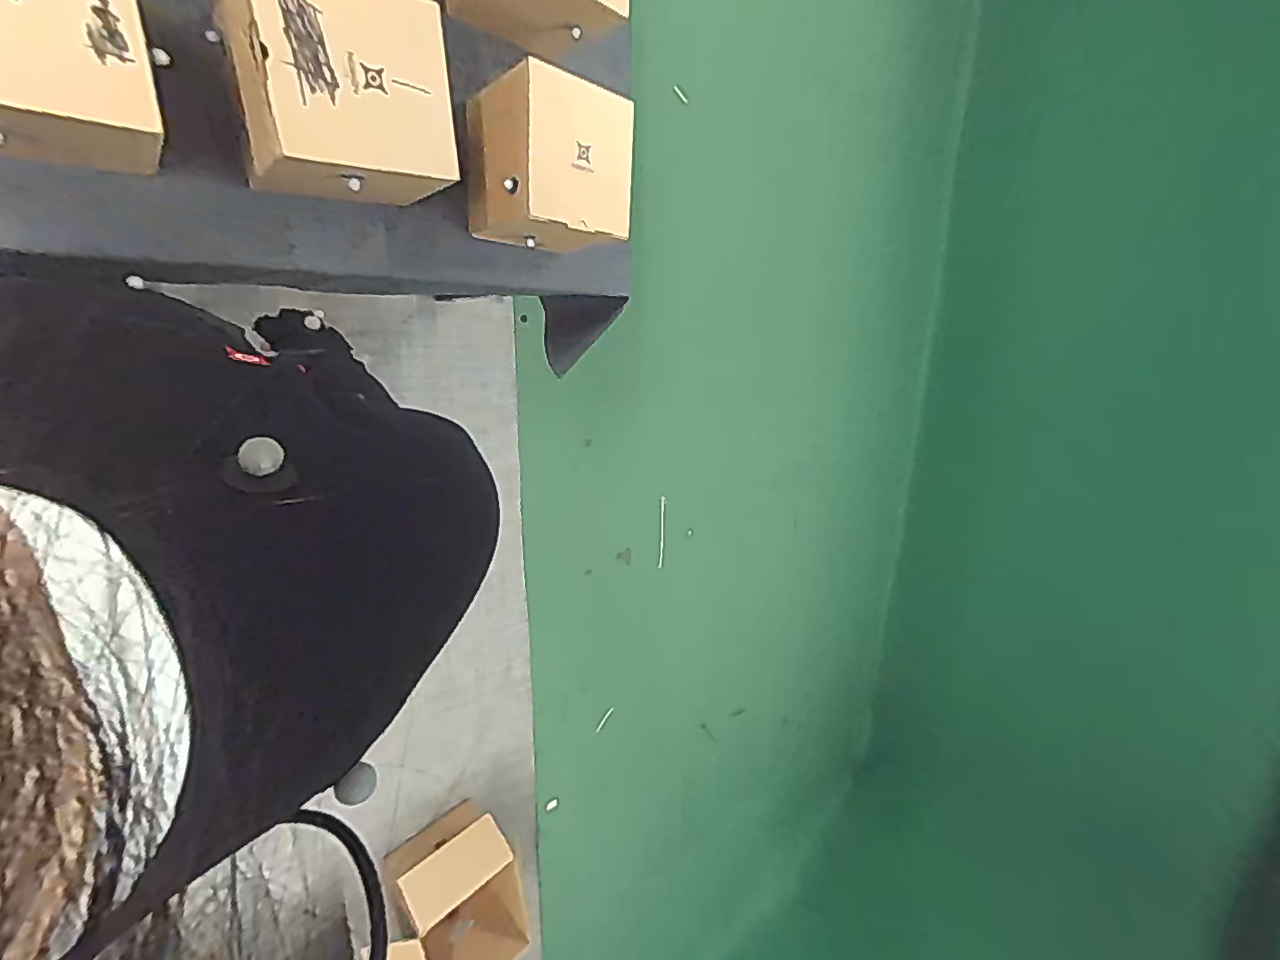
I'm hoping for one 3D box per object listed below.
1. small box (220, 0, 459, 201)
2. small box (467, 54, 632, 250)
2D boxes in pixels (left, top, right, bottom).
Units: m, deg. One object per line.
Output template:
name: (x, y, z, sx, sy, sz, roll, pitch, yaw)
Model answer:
small box: (-0.319, -0.406, 0.574, 0.179, 0.176, 0.168, -17, 113, -40)
small box: (-0.128, -0.433, 0.752, 0.168, 0.176, 0.179, -10, 108, -42)
